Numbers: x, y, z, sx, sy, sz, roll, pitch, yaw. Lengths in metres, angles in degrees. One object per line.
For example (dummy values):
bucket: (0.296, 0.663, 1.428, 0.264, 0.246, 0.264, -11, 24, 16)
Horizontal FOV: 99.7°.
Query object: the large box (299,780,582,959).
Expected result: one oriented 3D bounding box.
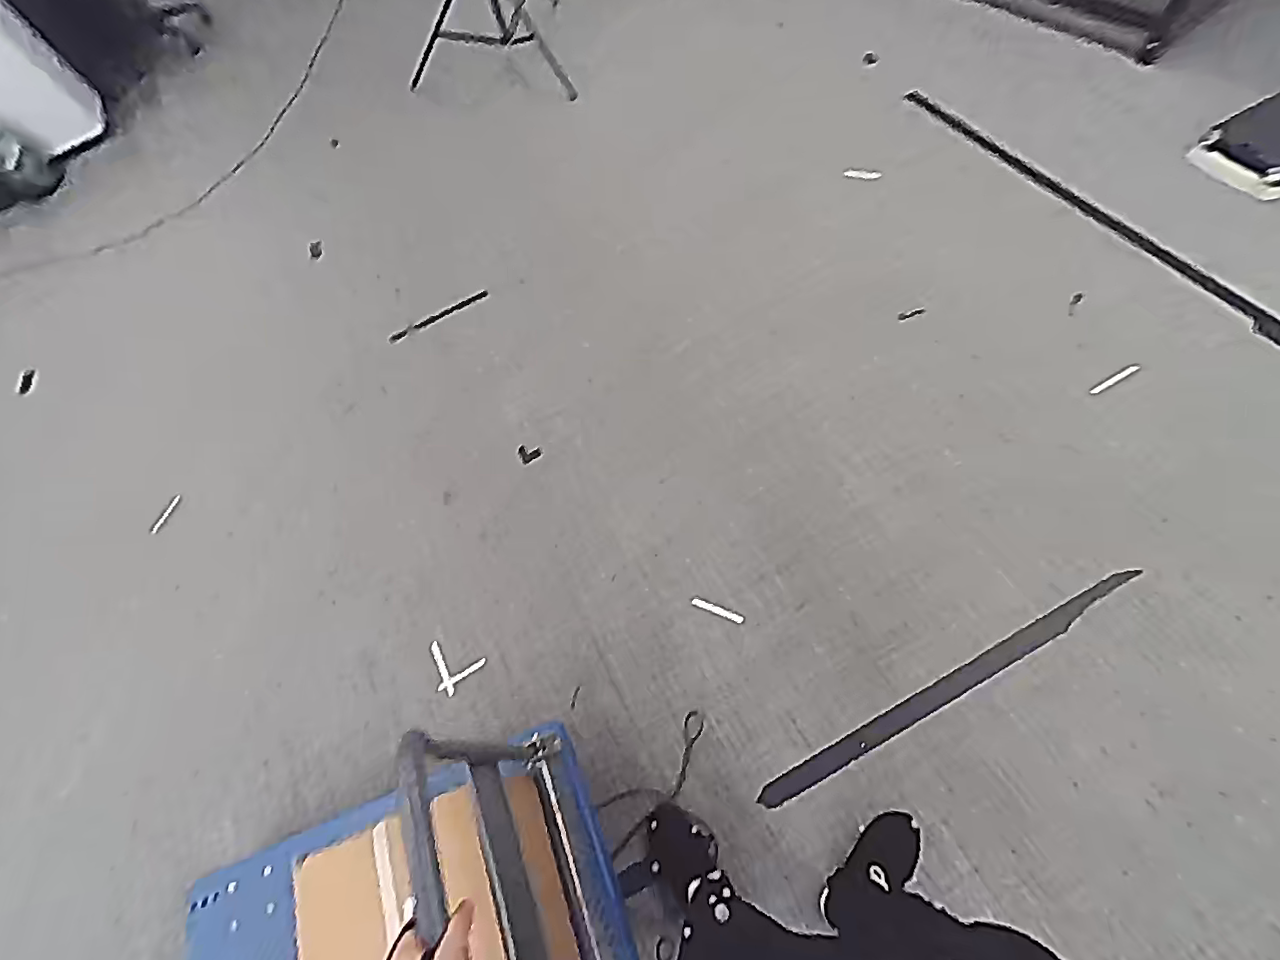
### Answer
large box: (-0.320, 0.794, 0.930, 0.320, 0.320, 0.408, -24, 62, -3)
